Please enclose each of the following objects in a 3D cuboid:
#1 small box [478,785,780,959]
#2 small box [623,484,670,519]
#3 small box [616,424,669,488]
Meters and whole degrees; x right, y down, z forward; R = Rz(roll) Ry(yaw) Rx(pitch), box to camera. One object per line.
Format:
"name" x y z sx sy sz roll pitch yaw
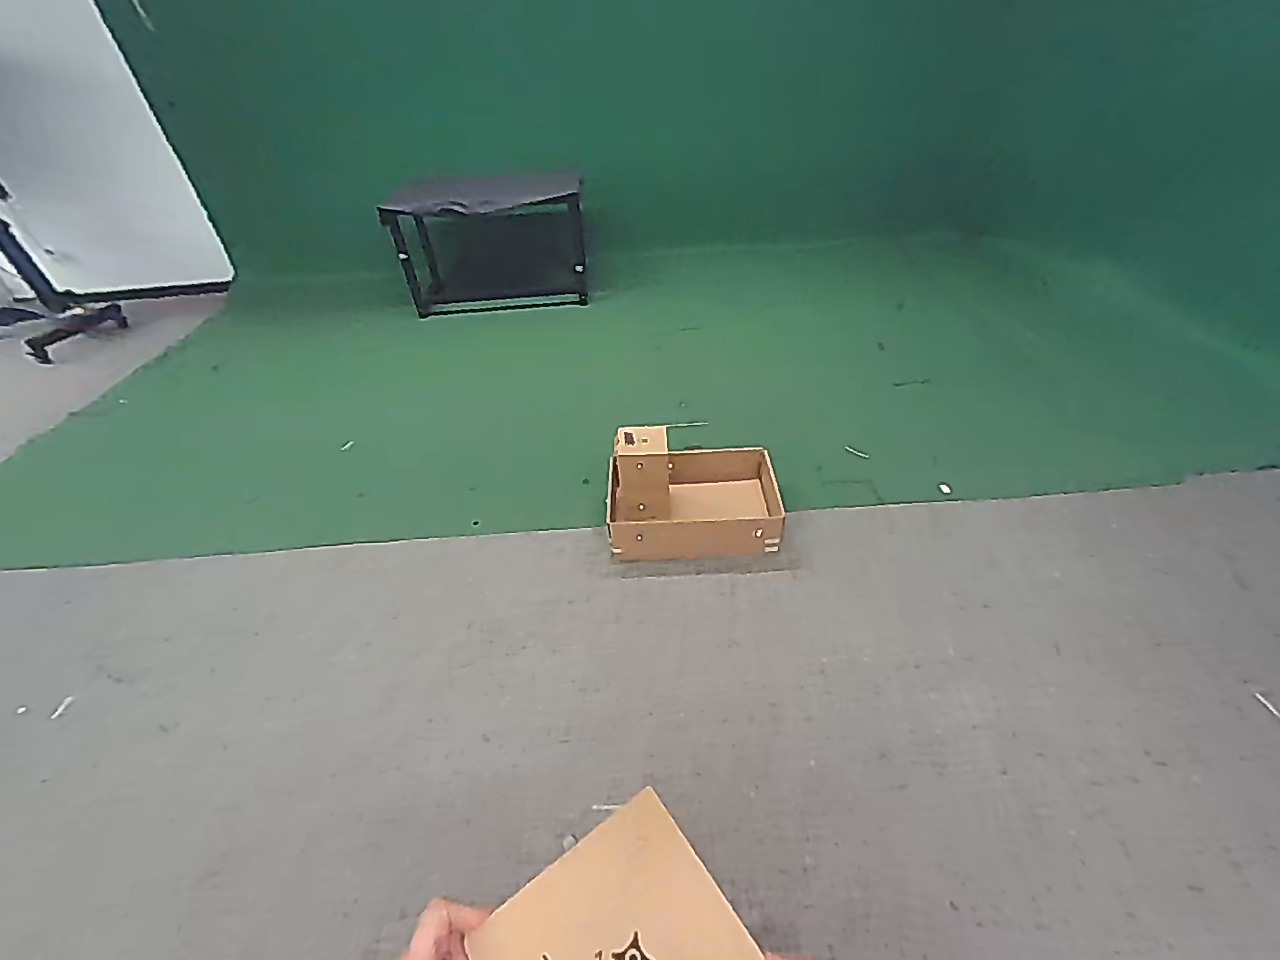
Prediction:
"small box" -0.011 0.401 0.452 0.179 0.176 0.168 -28 55 -25
"small box" 0.025 0.034 2.047 0.168 0.176 0.179 -3 42 1
"small box" 0.011 -0.082 1.932 0.179 0.176 0.168 -2 42 1
